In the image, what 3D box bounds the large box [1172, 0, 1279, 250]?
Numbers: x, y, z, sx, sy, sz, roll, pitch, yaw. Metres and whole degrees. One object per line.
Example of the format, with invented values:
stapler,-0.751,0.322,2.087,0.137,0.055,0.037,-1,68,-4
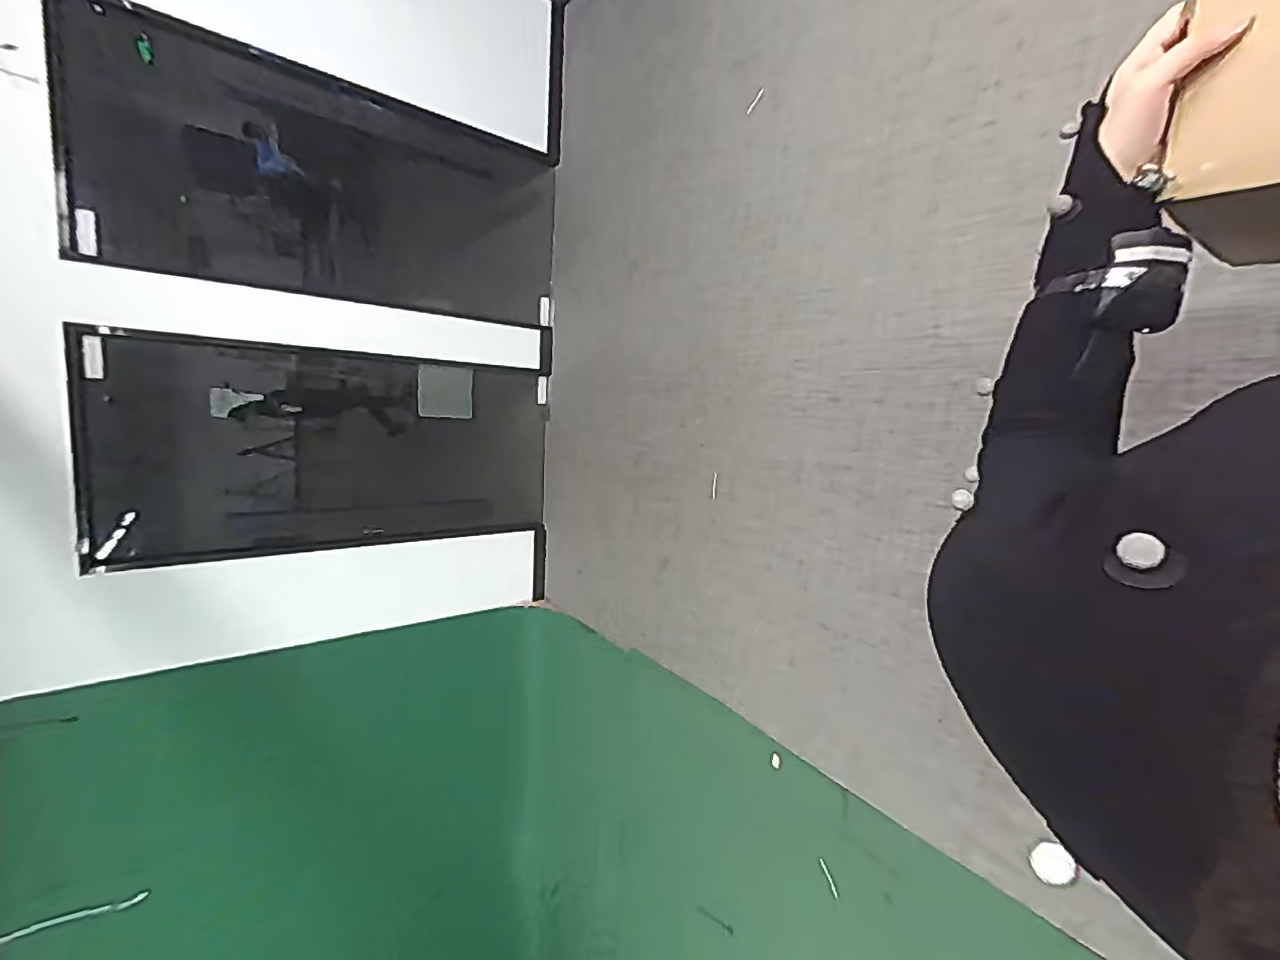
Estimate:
large box,0.632,-0.343,0.298,0.408,0.320,0.320,16,107,54
